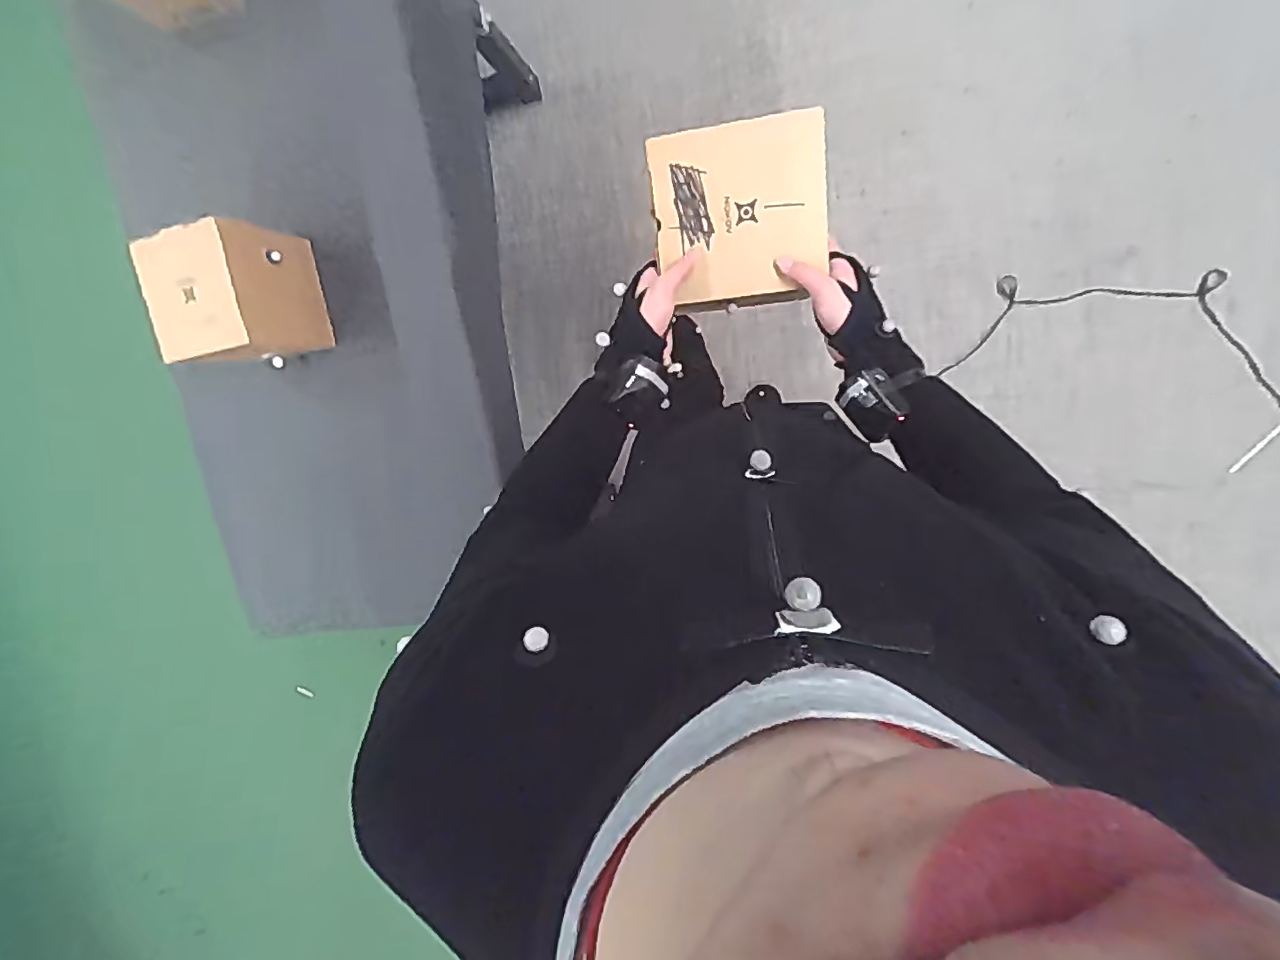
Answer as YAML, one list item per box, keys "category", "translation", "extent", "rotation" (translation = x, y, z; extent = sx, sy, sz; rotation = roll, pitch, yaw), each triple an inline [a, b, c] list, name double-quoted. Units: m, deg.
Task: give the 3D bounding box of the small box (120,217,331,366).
- category: "small box"
  translation: [-0.622, -0.277, 0.834]
  extent: [0.168, 0.176, 0.179]
  rotation: [-8, 102, 14]

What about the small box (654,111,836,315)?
- category: "small box"
  translation: [0.118, -0.285, 0.618]
  extent: [0.179, 0.176, 0.168]
  rotation: [-4, 104, 9]
